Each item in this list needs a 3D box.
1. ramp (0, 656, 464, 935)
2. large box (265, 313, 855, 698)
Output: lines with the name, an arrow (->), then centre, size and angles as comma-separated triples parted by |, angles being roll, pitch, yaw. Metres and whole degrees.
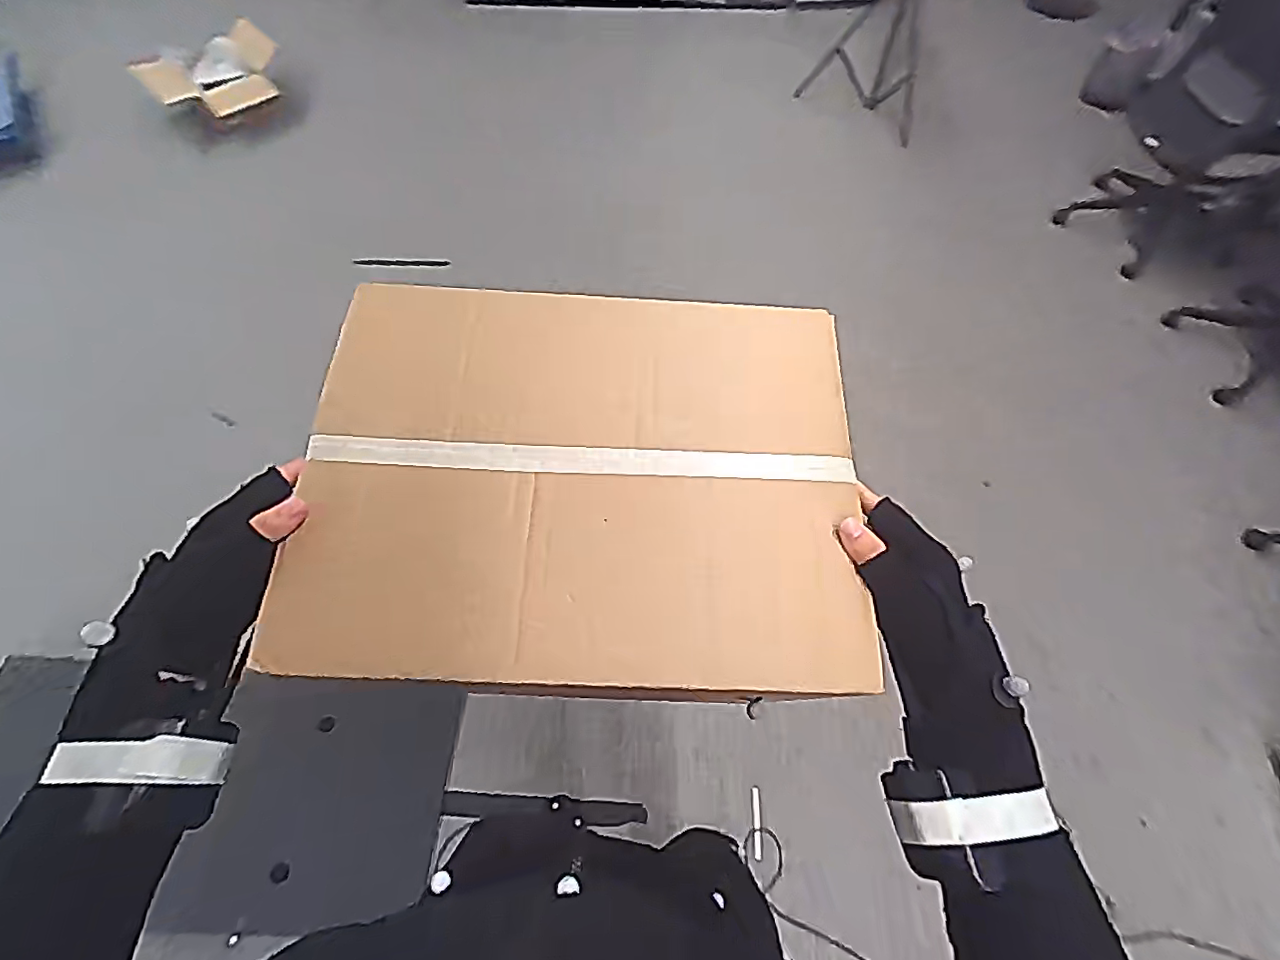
ramp -> -0.943, 0.677, 1.191 | 0.991, 0.206, 0.509 | 1, 59, 0
large box -> -0.054, 0.055, 0.555 | 0.408, 0.320, 0.320 | 2, 66, -2
